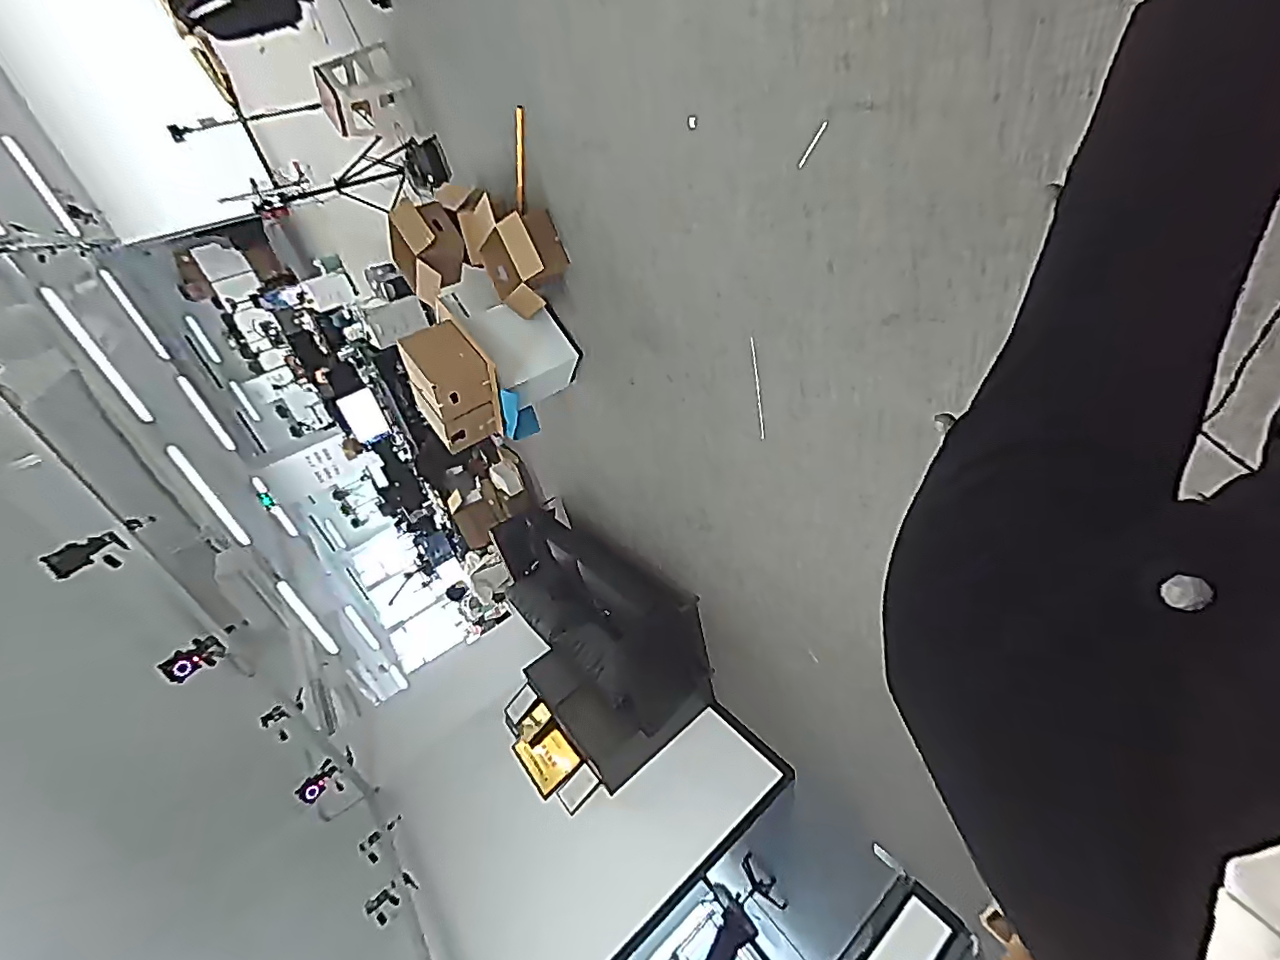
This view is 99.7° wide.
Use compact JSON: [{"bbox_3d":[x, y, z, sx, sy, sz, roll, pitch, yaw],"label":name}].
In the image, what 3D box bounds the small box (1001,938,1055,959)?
[{"bbox_3d":[1.133,1.469,1.548,0.168,0.176,0.179,36,147,38],"label":"small box"}]
